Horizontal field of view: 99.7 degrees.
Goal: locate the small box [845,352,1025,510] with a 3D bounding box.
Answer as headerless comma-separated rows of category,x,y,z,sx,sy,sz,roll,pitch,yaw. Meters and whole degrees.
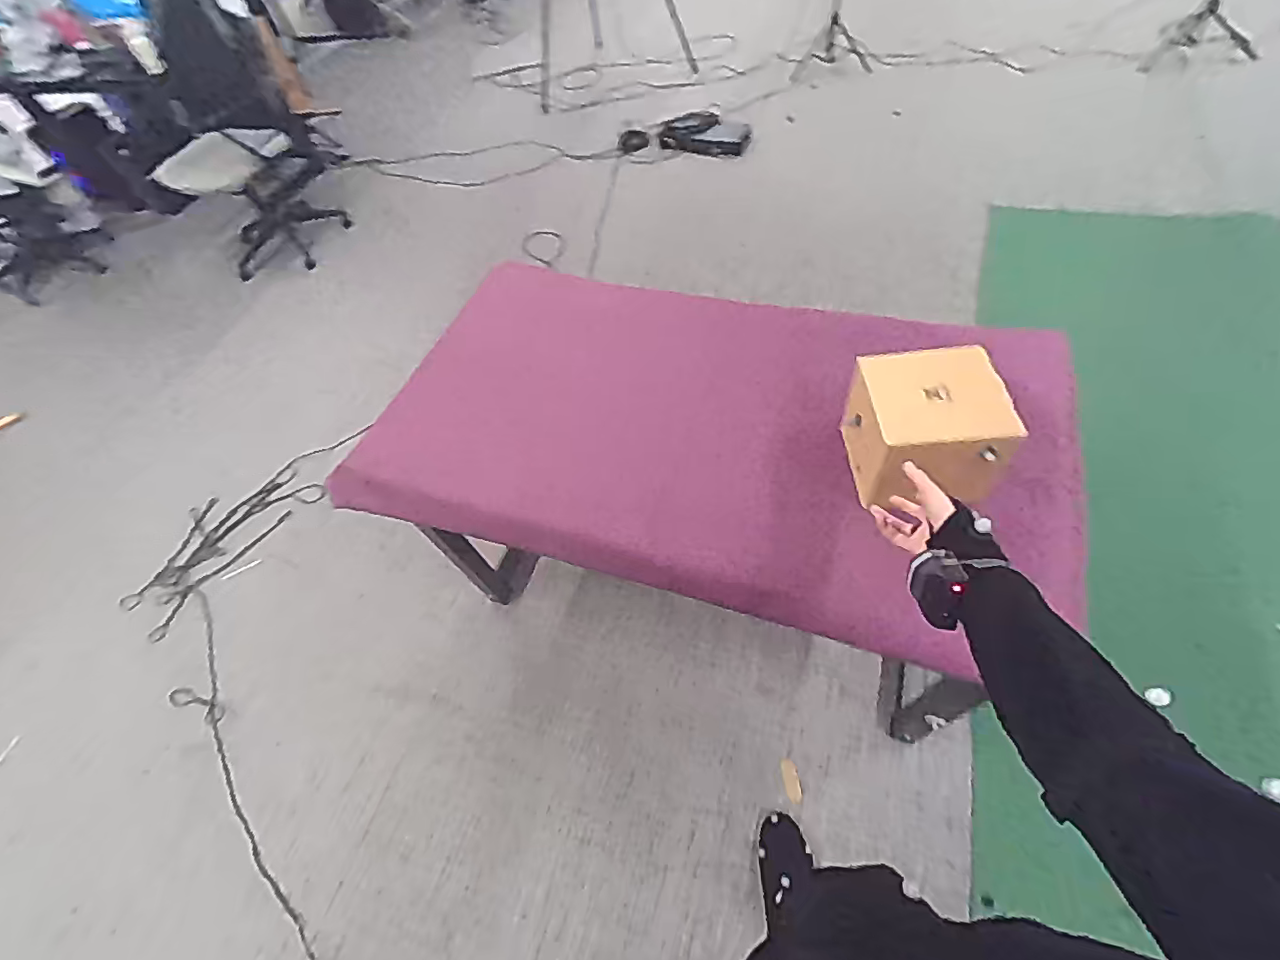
small box,0.415,-0.066,0.802,0.179,0.176,0.168,-3,55,6
